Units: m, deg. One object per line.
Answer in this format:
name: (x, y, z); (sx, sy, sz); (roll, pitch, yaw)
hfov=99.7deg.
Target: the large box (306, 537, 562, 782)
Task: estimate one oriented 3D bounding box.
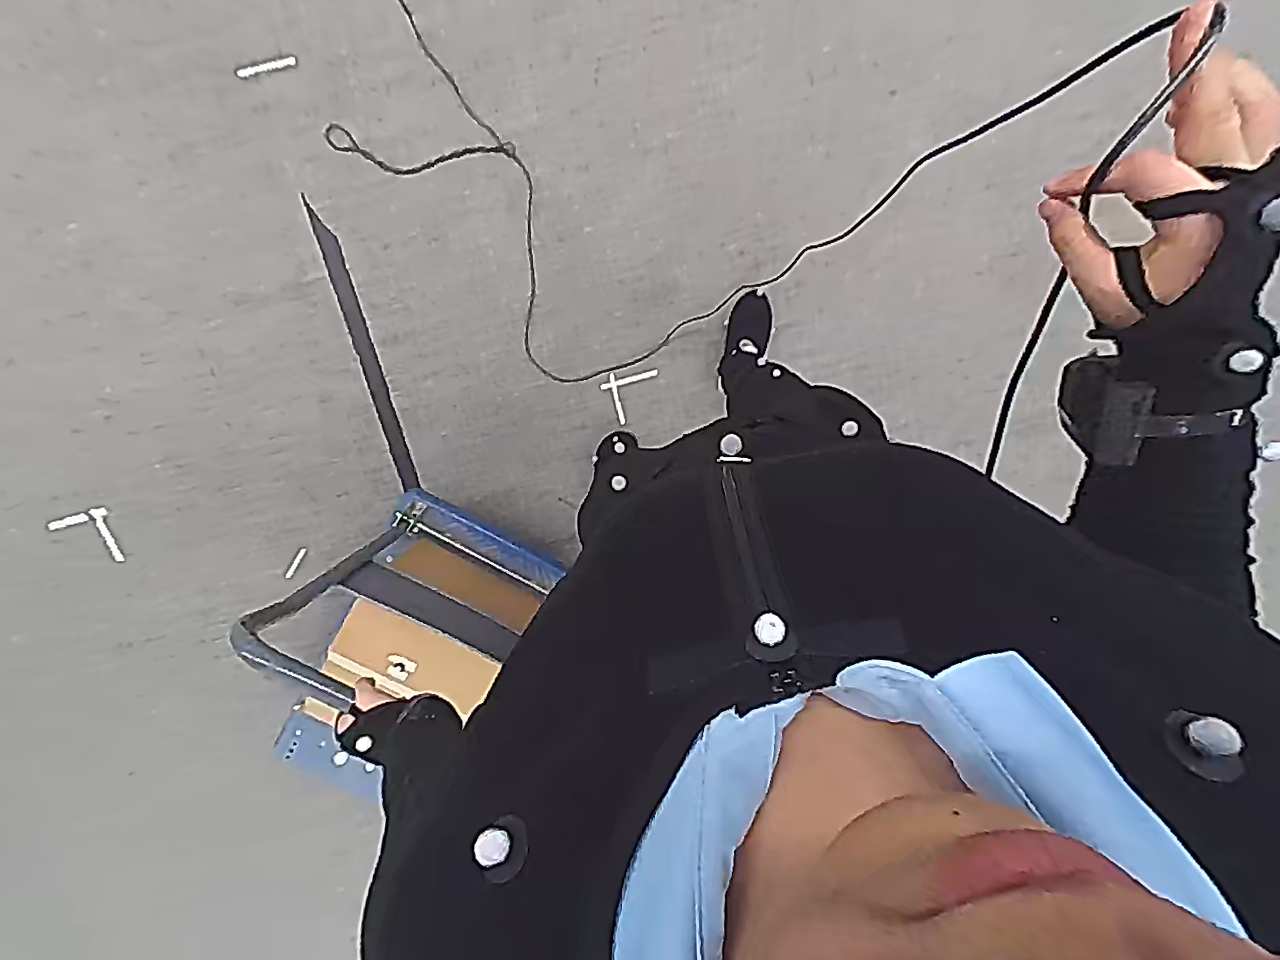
large box: (-0.440, 0.393, 1.245); (0.408, 0.320, 0.320); (30, 101, -7)
